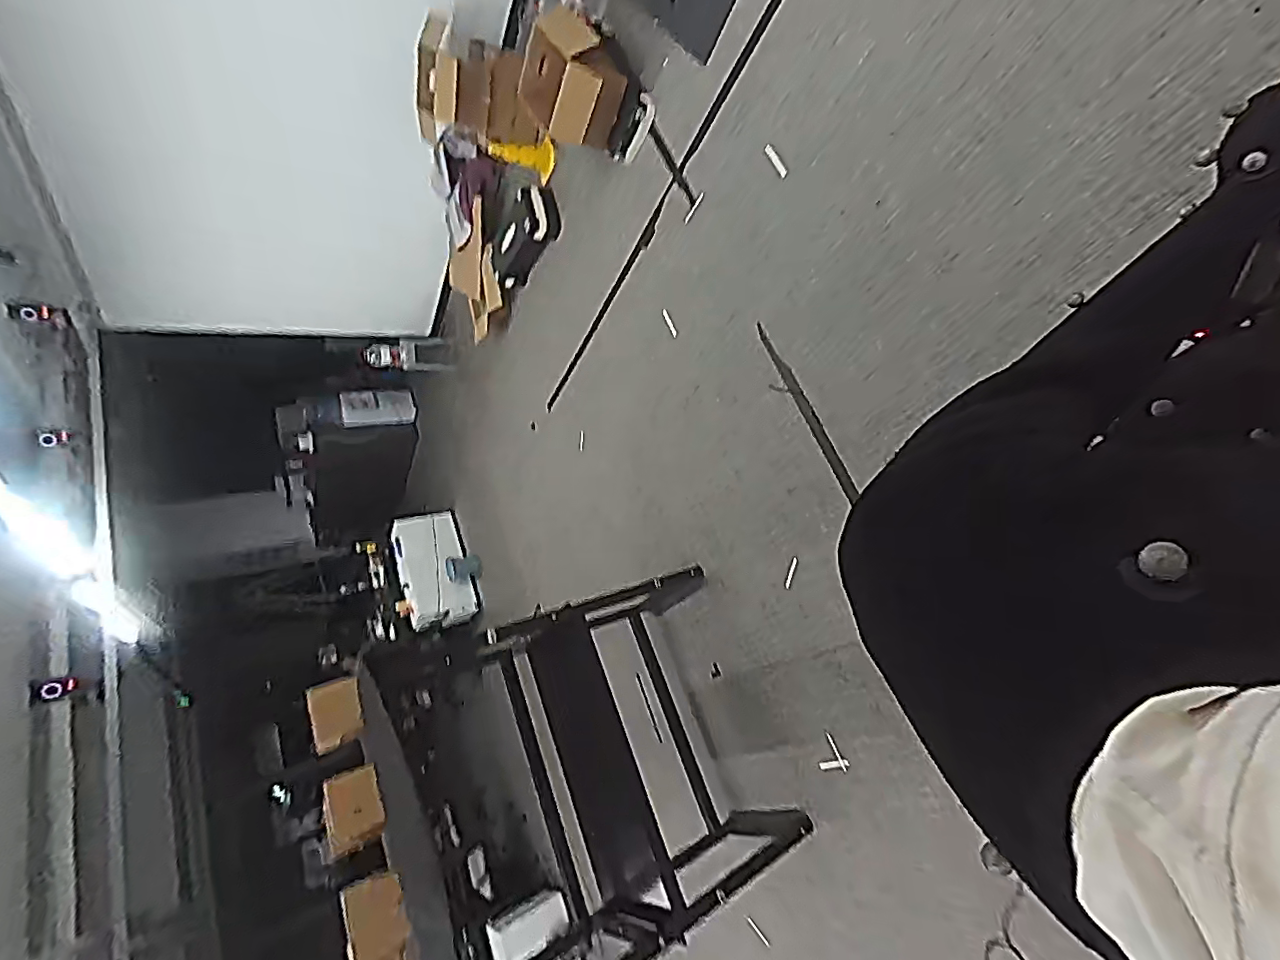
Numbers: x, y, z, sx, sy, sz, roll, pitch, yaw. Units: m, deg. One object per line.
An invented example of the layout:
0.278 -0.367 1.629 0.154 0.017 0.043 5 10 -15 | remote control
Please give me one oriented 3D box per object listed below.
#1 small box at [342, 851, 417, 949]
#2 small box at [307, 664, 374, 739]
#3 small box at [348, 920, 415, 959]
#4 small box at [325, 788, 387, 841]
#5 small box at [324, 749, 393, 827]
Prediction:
-0.786 1.251 1.626 0.168 0.176 0.179 -48 58 49 | small box
-1.000 0.739 1.811 0.168 0.176 0.179 64 143 23 | small box
-0.849 1.523 1.777 0.168 0.176 0.179 62 141 23 | small box
-1.017 1.154 1.932 0.168 0.176 0.179 -45 61 49 | small box
-0.901 0.983 1.730 0.179 0.176 0.168 -49 58 49 | small box
